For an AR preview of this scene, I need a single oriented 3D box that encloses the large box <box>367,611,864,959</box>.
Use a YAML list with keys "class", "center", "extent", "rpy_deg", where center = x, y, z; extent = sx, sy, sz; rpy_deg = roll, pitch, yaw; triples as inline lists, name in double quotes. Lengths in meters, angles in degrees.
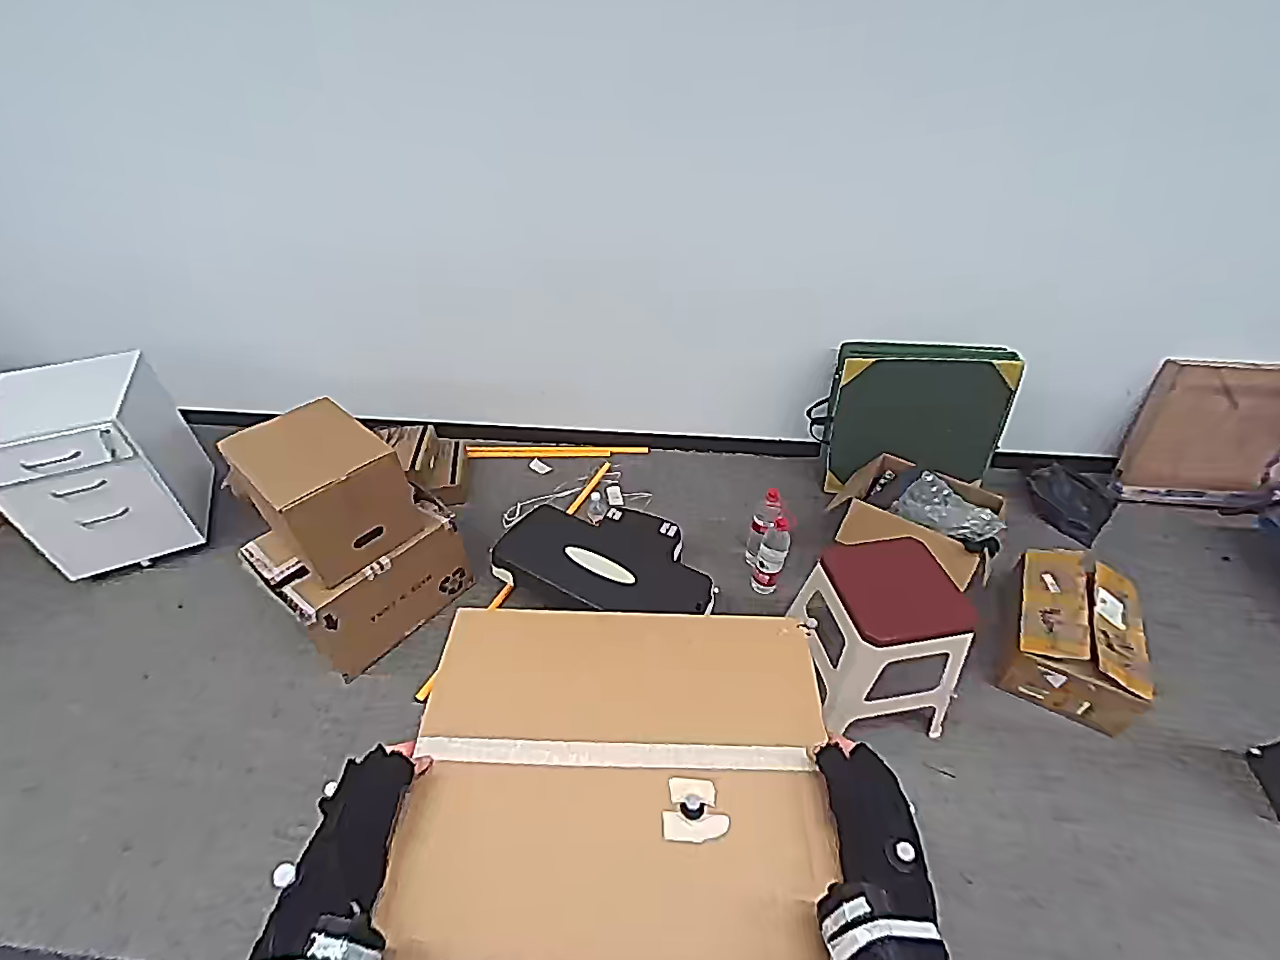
- class: "large box"
  center: [-0.019, 0.373, 0.634]
  extent: [0.408, 0.320, 0.320]
  rpy_deg: [2, 45, 1]
